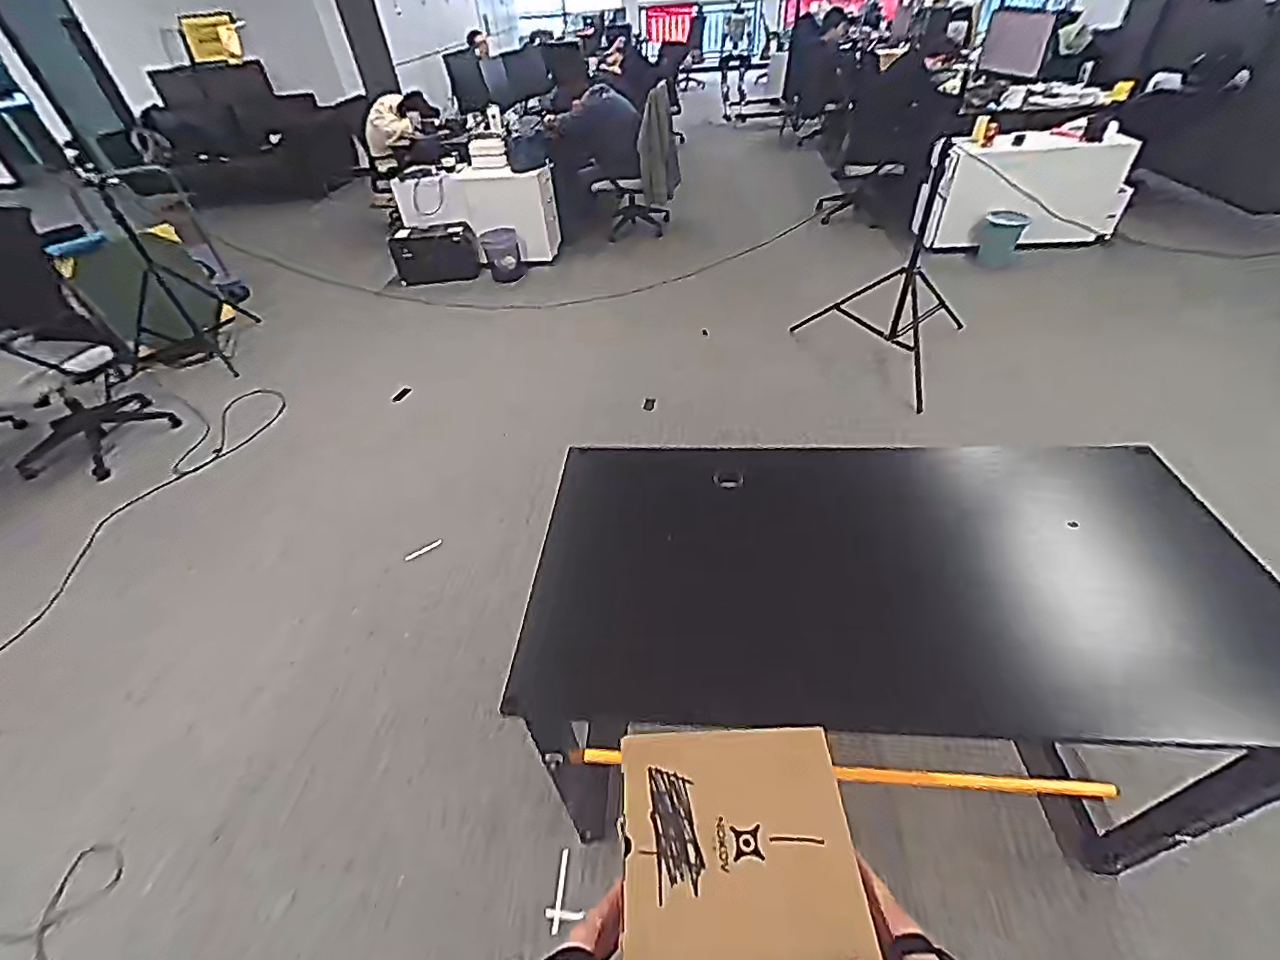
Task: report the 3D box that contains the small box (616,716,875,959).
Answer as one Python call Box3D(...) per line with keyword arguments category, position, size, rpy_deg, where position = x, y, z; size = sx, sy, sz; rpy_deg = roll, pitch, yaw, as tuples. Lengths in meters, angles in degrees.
Box3D(category="small box", position=(0.075, 0.326, 0.472), size=(0.179, 0.176, 0.168), rpy_deg=(-3, 43, 1))
